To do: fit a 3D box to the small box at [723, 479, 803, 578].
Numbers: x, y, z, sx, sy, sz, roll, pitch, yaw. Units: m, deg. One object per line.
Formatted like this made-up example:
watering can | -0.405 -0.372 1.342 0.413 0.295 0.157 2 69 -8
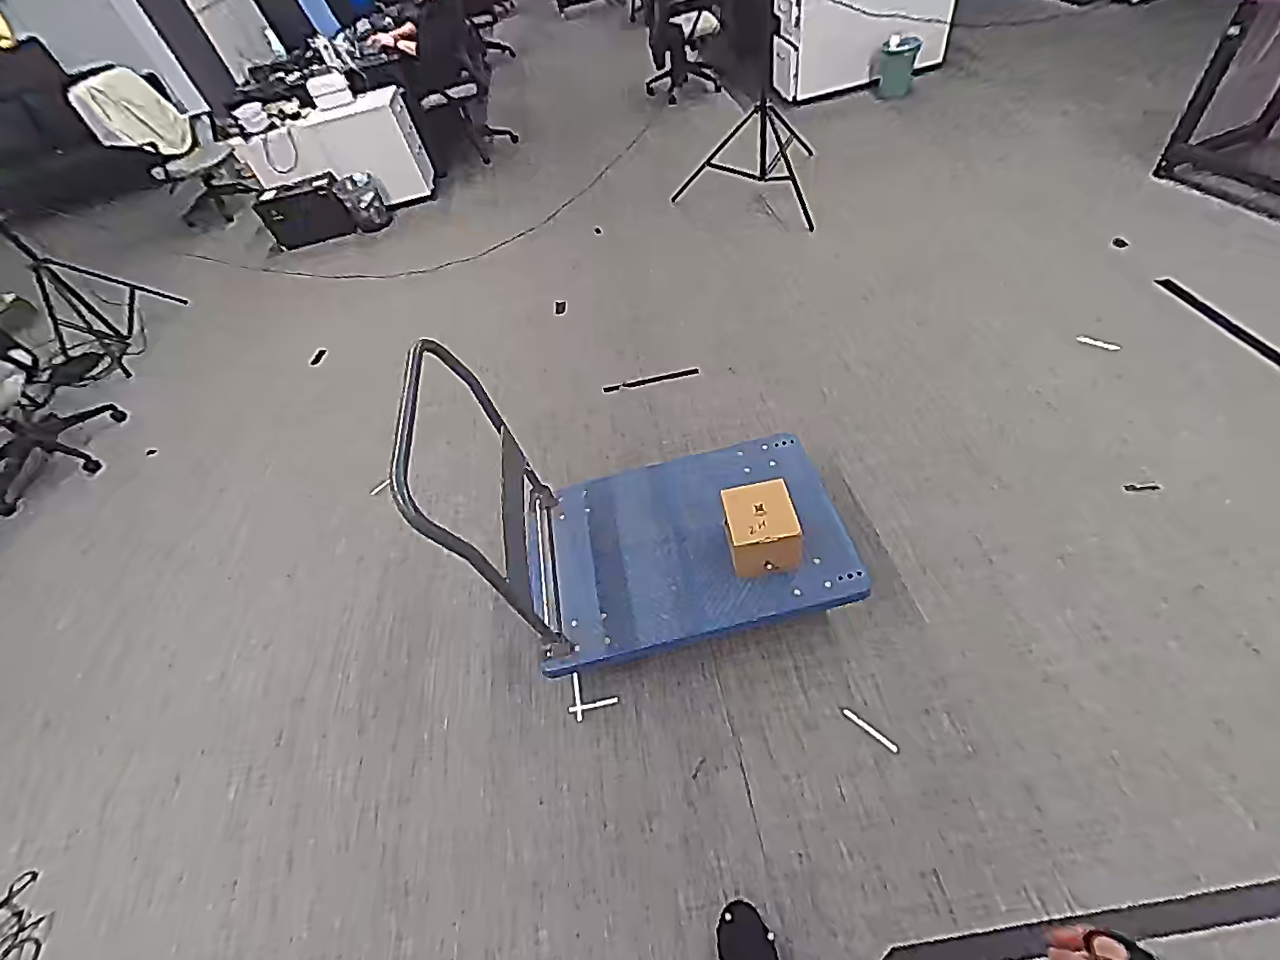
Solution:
small box | 0.314 0.128 1.400 0.168 0.176 0.179 -12 50 4
